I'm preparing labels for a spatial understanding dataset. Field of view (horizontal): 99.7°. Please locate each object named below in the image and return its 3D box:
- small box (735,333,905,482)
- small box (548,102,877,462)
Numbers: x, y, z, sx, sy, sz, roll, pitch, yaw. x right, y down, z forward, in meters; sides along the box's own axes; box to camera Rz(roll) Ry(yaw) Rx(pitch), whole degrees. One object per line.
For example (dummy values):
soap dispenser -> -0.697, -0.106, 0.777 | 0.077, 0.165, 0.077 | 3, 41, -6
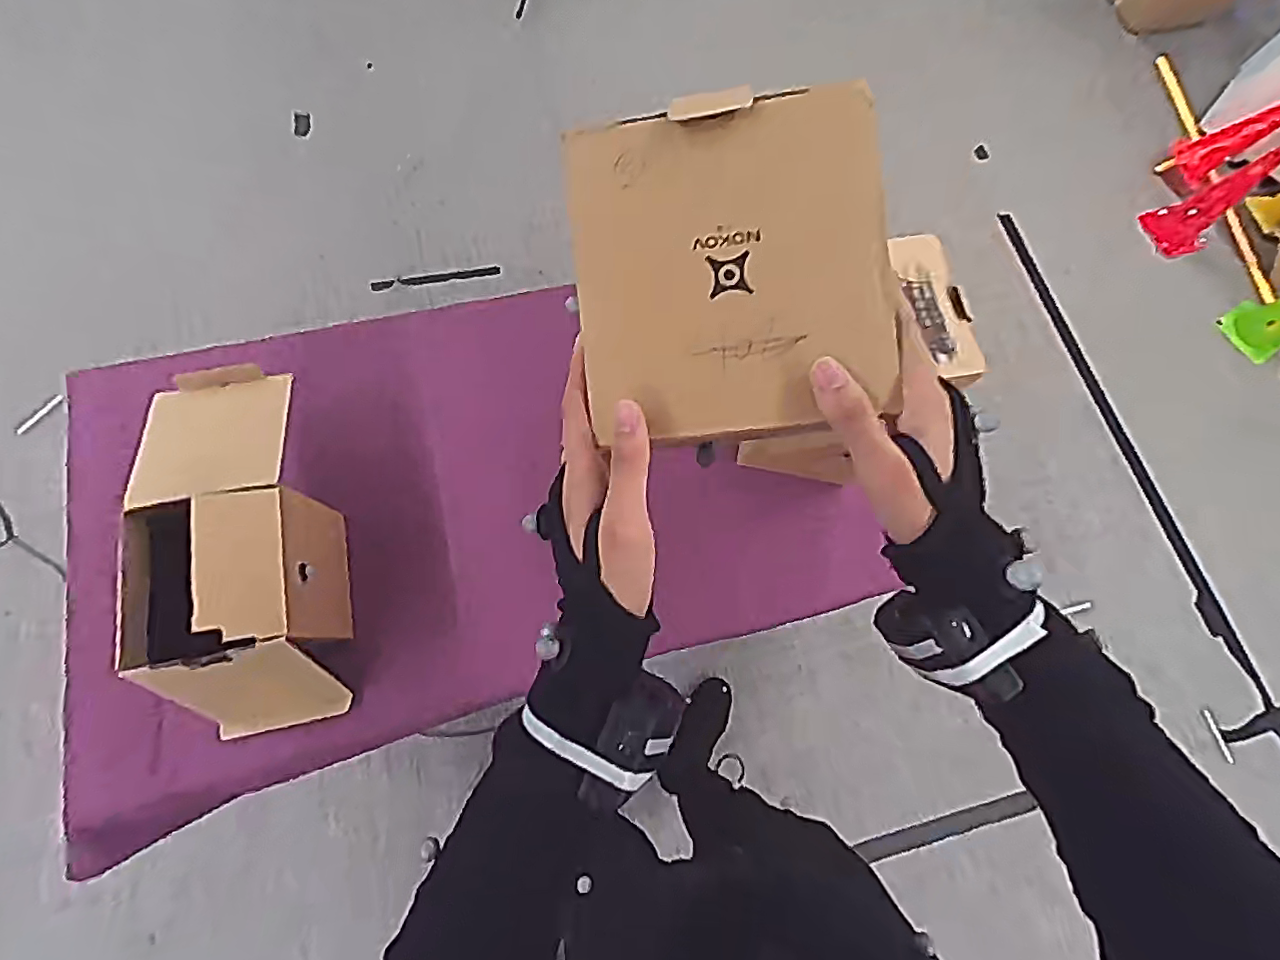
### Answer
small box -> 0.251, -0.106, 0.780 | 0.179, 0.176, 0.168 | 12, 73, 0
small box -> 0.043, -0.107, 0.371 | 0.168, 0.176, 0.179 | -6, 91, 5
